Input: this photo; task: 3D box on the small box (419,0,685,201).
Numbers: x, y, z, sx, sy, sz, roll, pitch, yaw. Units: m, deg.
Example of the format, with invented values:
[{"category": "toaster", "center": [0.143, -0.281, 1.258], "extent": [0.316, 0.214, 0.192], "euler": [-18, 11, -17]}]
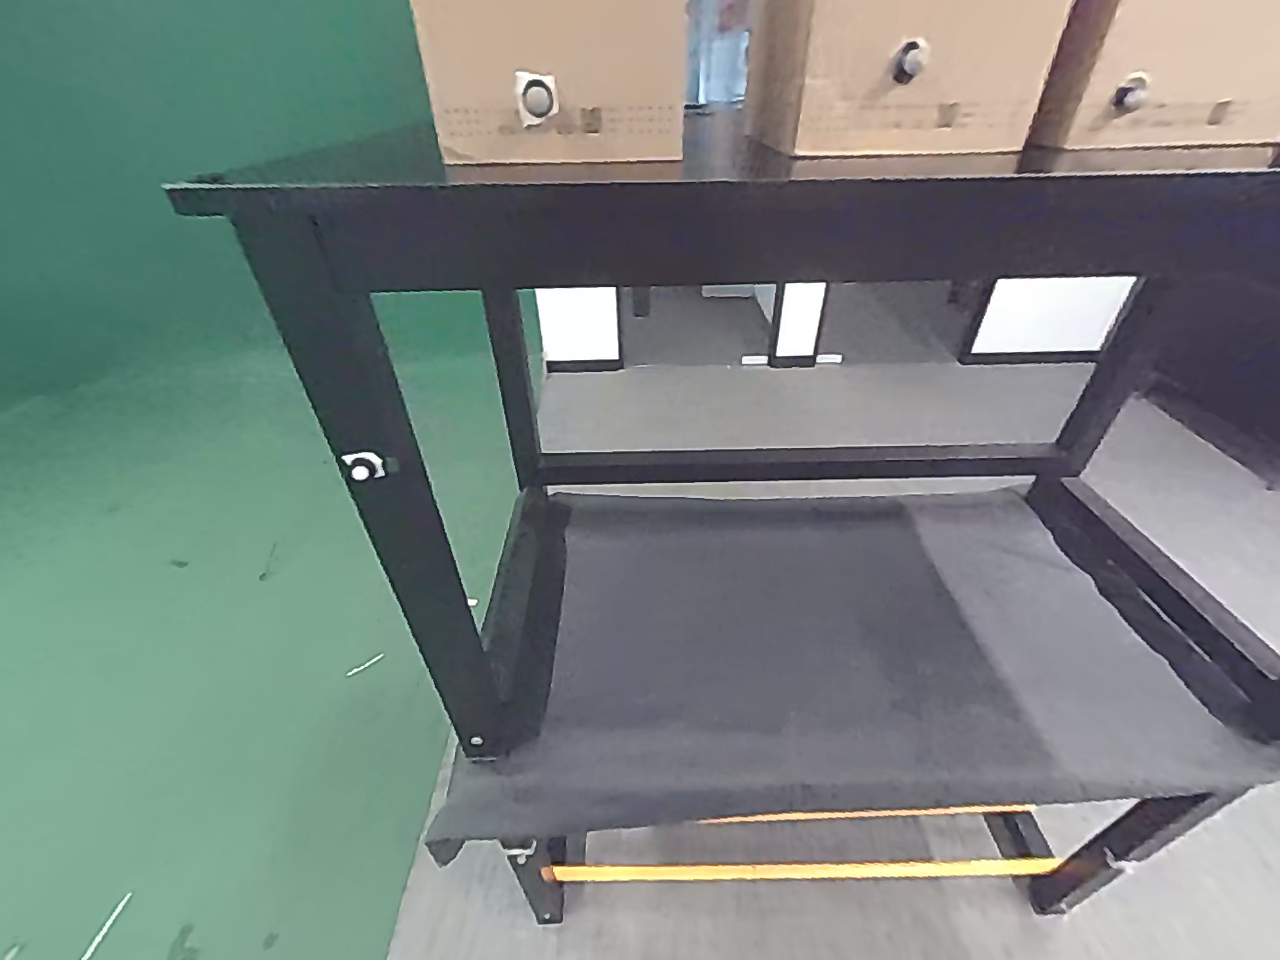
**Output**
[{"category": "small box", "center": [-0.058, -0.317, 0.404], "extent": [0.168, 0.176, 0.179], "euler": [-3, 38, -1]}]
